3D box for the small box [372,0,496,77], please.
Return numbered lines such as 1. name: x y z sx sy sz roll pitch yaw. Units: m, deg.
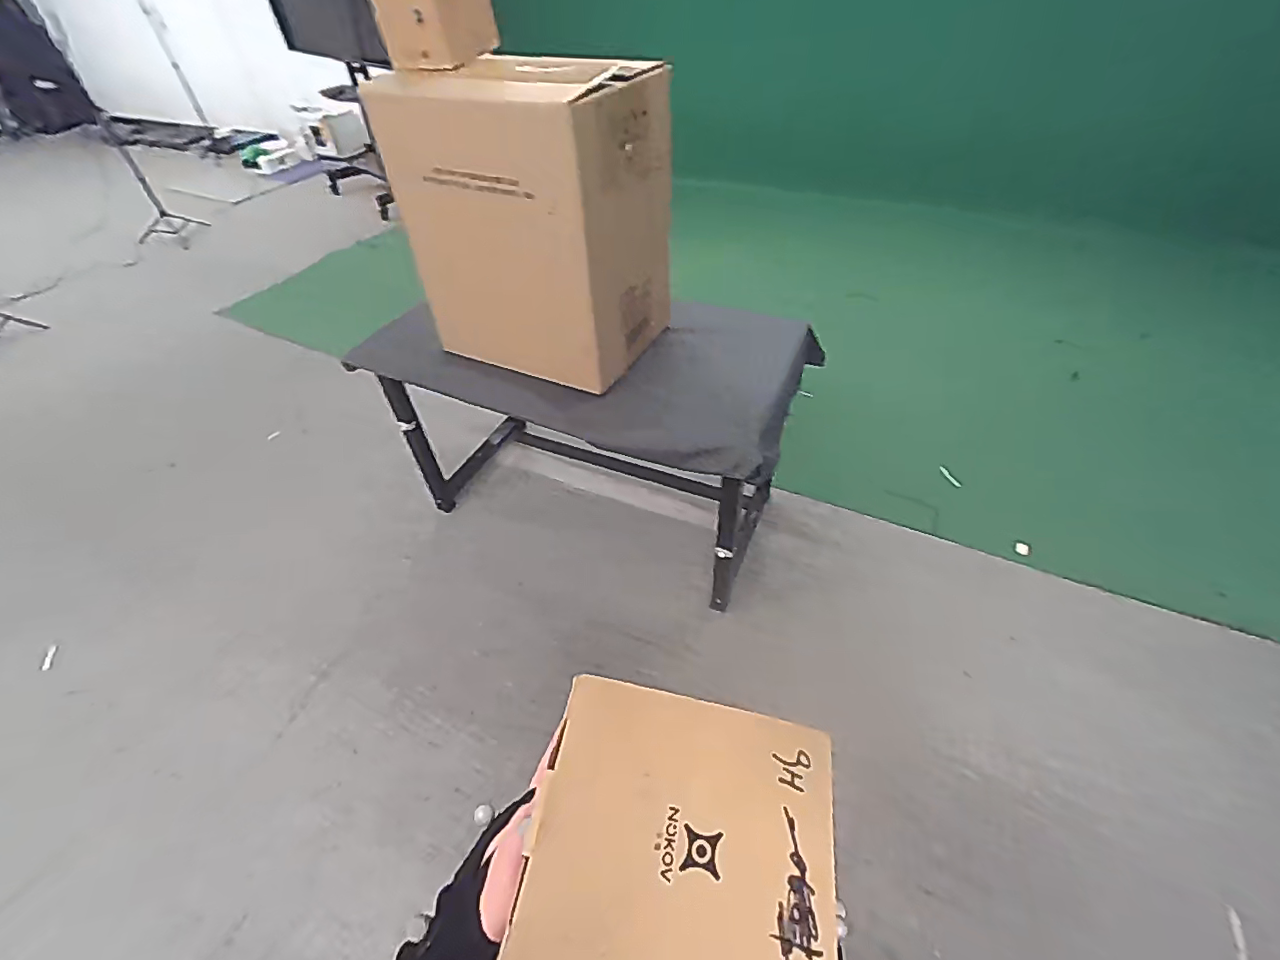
1. small box: -0.428 -0.971 1.137 0.168 0.176 0.179 17 51 18
